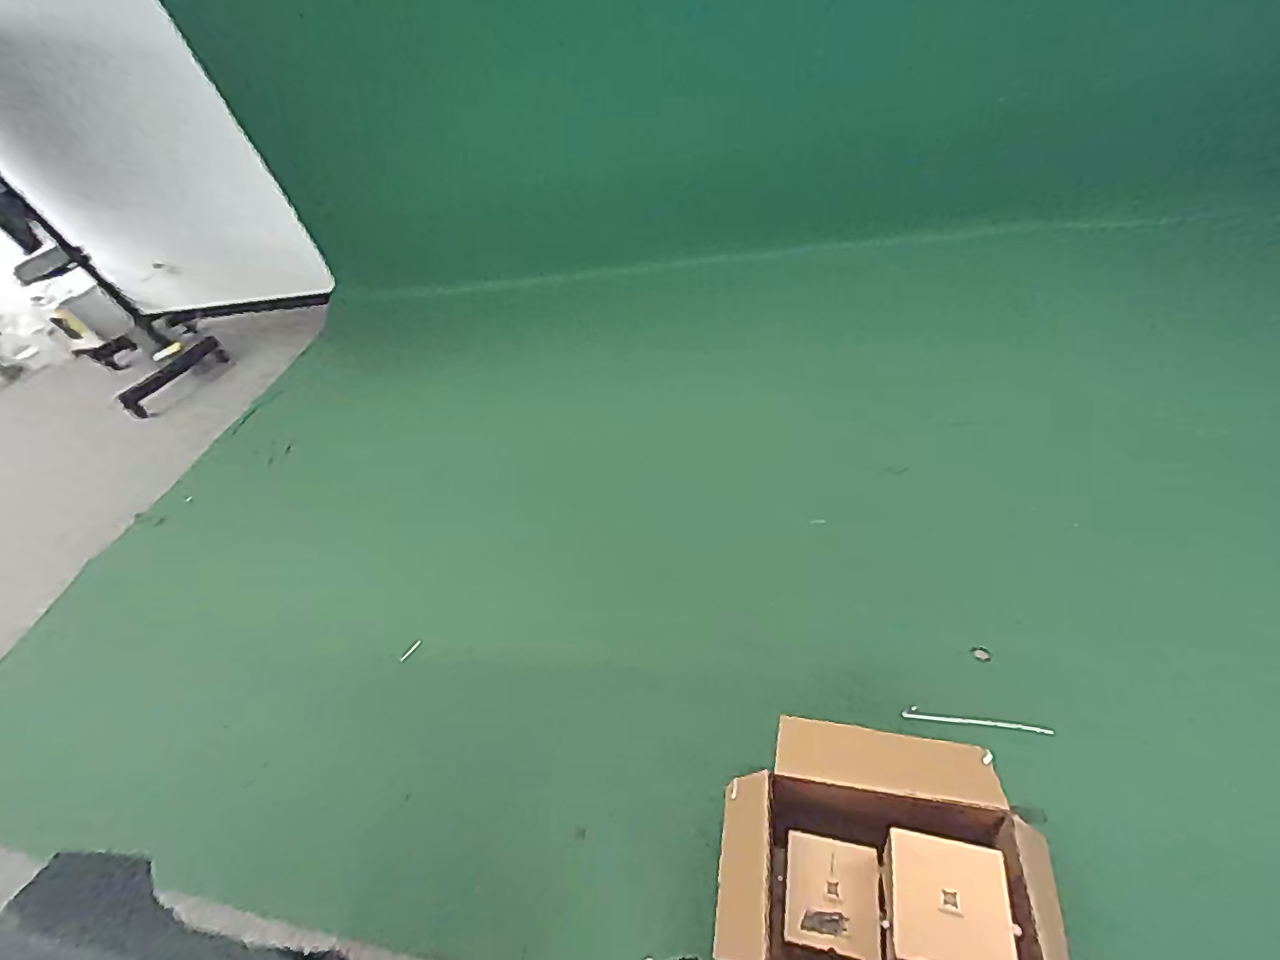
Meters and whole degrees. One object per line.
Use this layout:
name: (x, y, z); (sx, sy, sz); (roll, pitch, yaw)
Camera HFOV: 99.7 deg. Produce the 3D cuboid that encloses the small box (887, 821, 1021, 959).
small box: (0.509, 0.706, 0.901); (0.168, 0.176, 0.179); (1, 47, 21)
